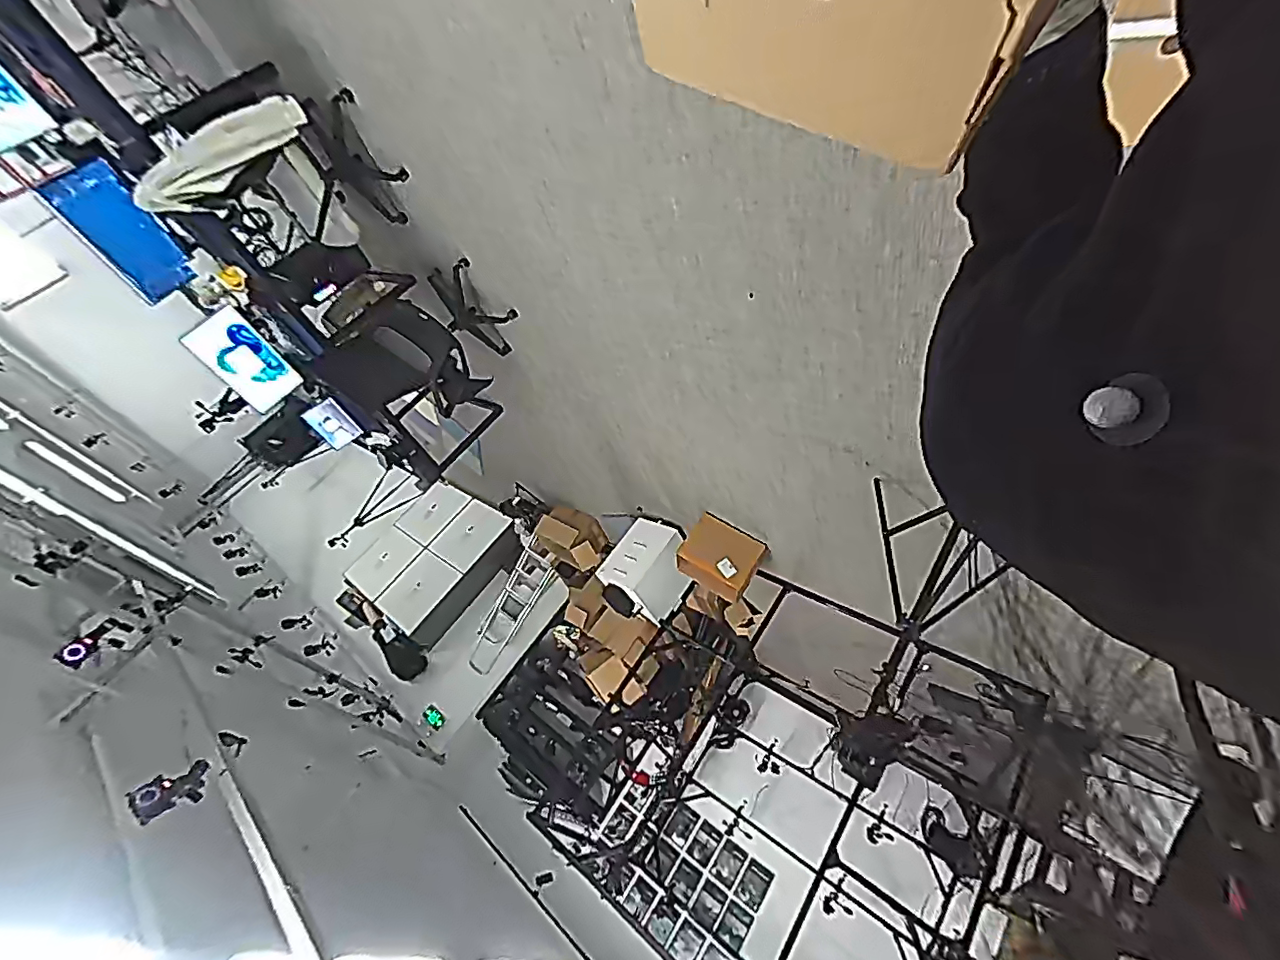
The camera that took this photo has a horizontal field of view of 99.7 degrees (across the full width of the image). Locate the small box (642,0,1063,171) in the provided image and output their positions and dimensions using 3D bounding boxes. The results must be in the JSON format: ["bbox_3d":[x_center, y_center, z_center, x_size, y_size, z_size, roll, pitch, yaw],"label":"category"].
[{"bbox_3d":[0.106,-0.270,0.203,0.179,0.176,0.168,33,176,16],"label":"small box"}]
